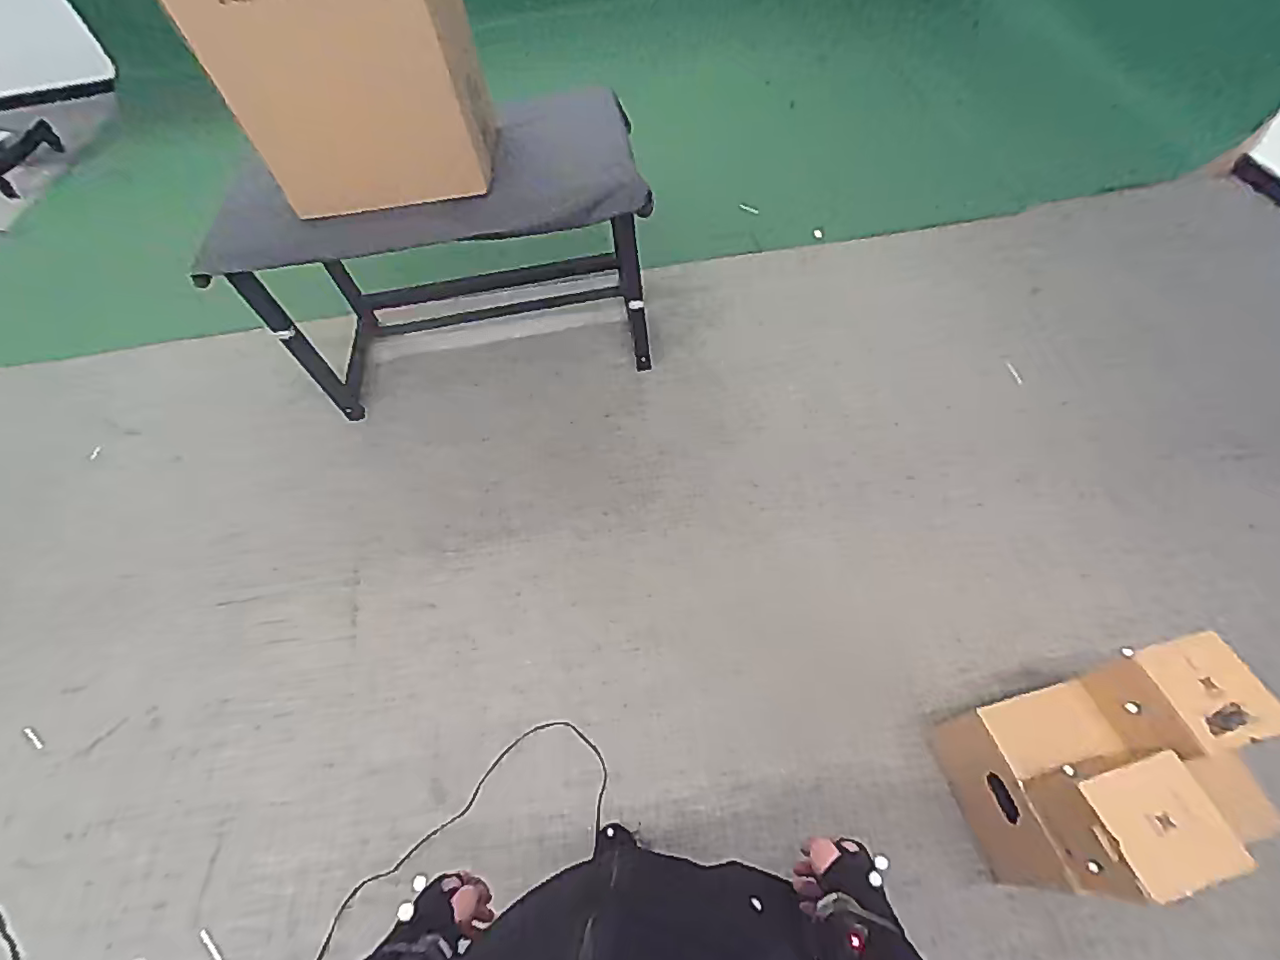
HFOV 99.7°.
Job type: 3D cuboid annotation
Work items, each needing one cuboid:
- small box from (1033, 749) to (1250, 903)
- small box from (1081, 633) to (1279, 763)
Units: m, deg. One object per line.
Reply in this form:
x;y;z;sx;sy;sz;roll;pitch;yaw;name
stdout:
0.805;0.568;0.899;0.179;0.176;0.168;-16;60;-6;small box
0.976;0.406;0.986;0.168;0.176;0.179;-13;54;-3;small box
